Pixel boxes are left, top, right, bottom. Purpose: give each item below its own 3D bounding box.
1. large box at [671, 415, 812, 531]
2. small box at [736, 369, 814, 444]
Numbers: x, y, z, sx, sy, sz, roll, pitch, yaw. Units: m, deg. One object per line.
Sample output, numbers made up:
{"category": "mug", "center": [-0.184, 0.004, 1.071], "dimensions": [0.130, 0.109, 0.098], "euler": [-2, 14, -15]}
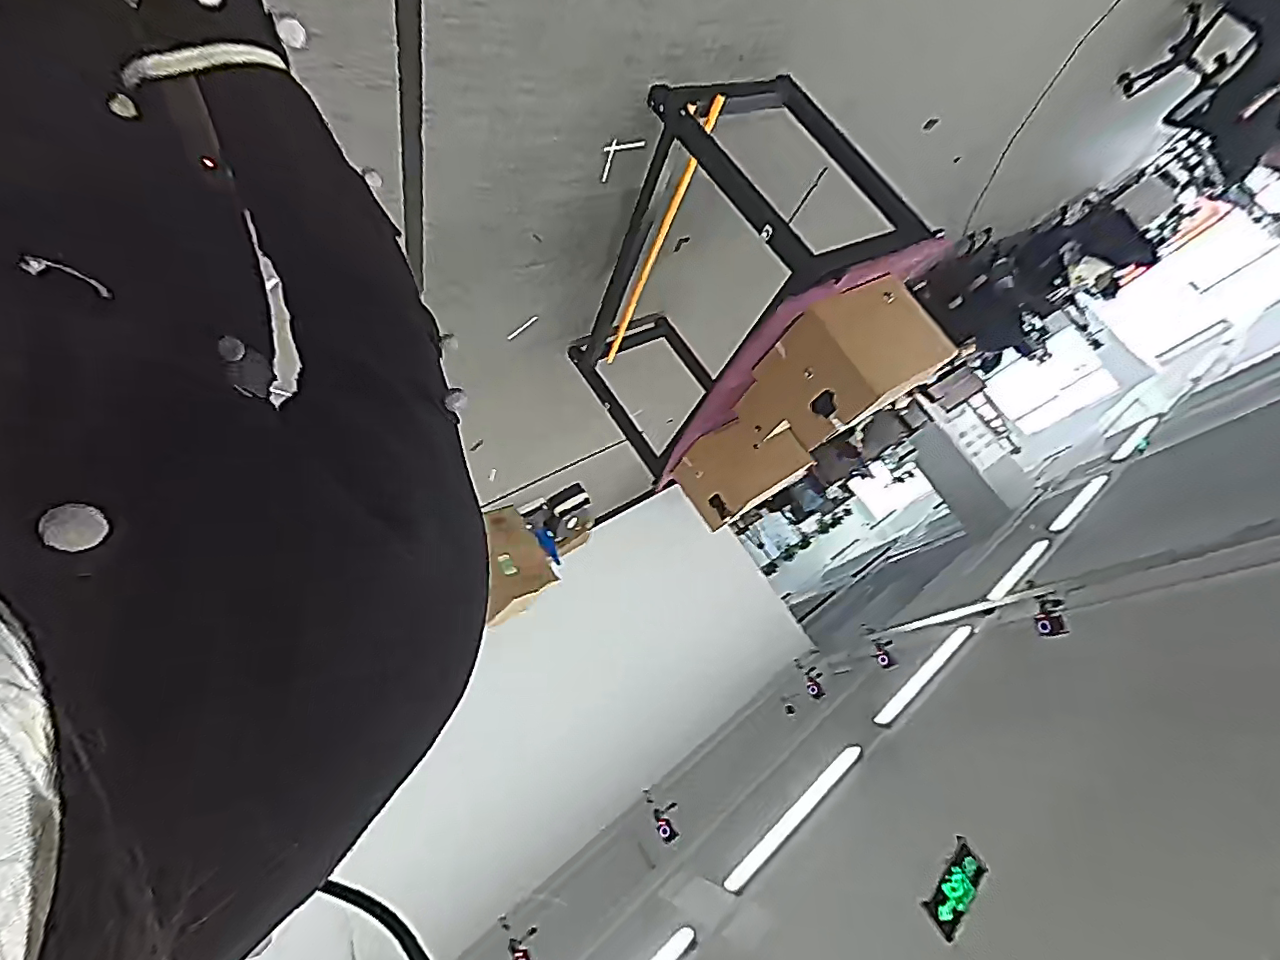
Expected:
{"category": "large box", "center": [0.401, -0.056, 2.205], "dimensions": [0.408, 0.320, 0.320], "euler": [-29, 167, -29]}
{"category": "small box", "center": [0.465, -0.261, 1.903], "dimensions": [0.168, 0.176, 0.179], "euler": [-28, 166, -28]}
